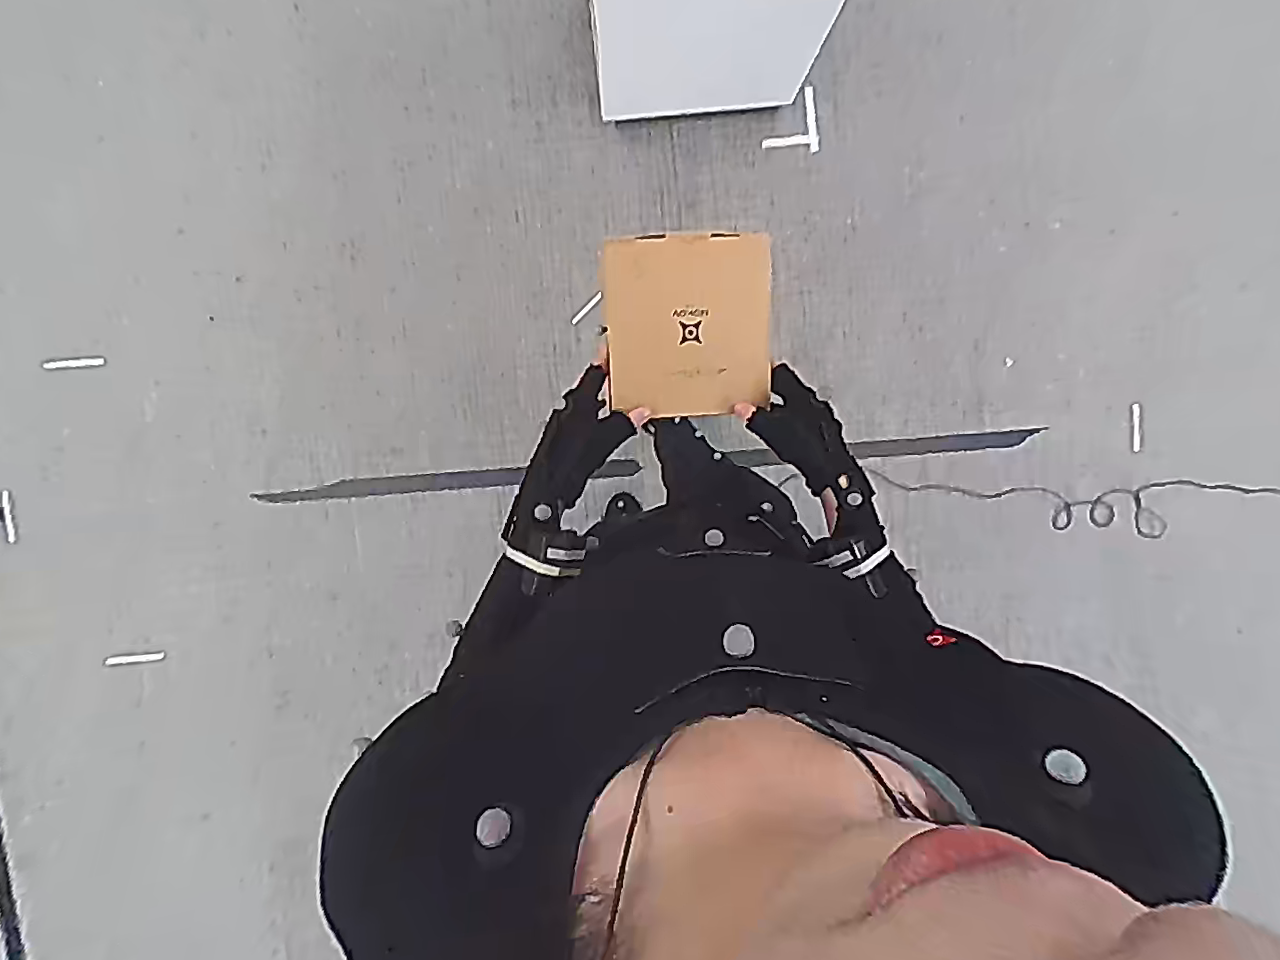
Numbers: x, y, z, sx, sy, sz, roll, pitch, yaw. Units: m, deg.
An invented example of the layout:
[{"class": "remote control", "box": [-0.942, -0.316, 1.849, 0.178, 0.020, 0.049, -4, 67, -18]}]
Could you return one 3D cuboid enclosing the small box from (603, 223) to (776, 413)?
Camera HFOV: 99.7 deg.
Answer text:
[{"class": "small box", "box": [0.047, -0.173, 0.611, 0.168, 0.176, 0.179, -5, 103, -4]}]
